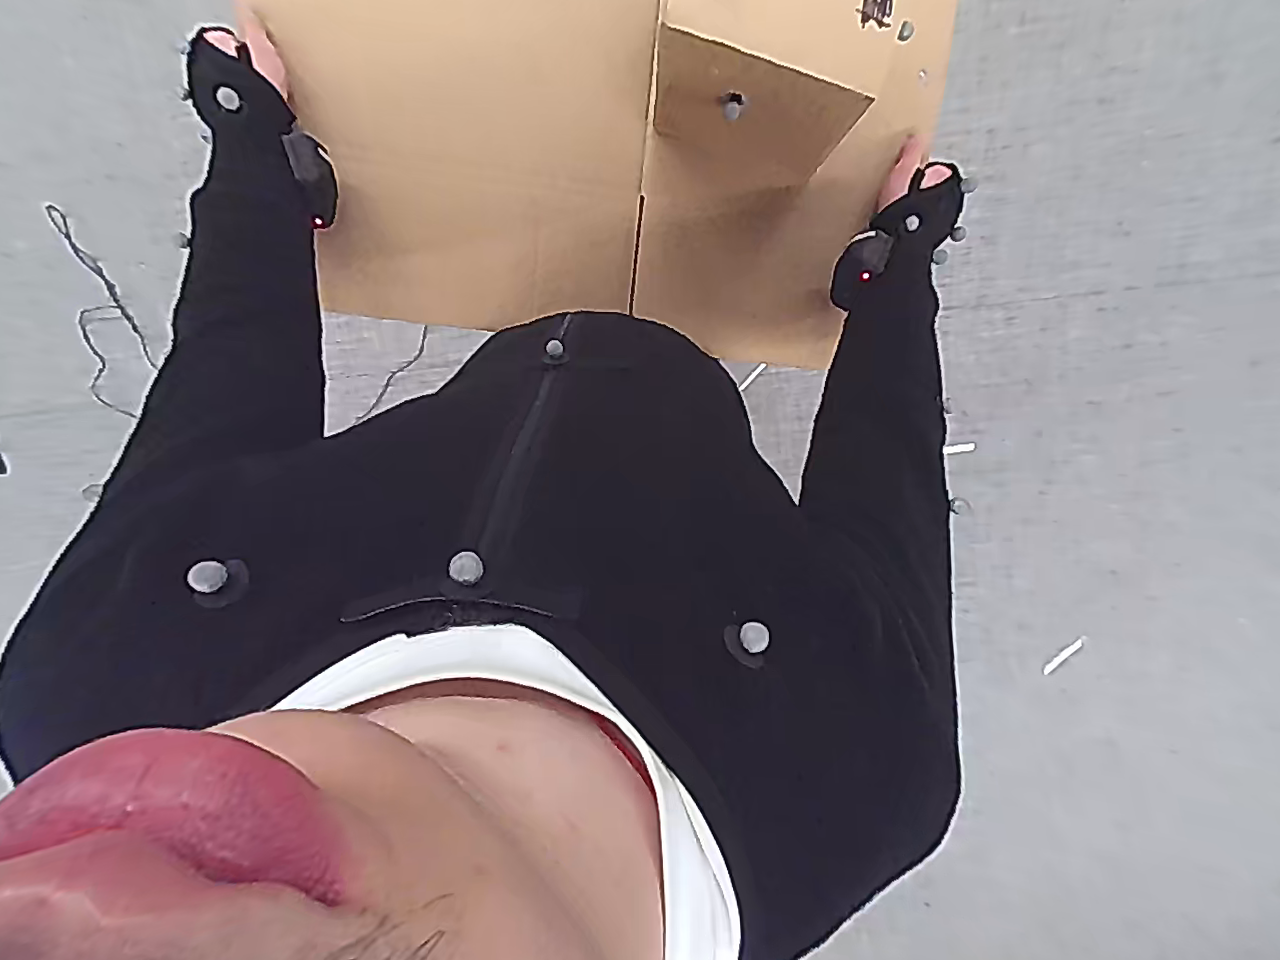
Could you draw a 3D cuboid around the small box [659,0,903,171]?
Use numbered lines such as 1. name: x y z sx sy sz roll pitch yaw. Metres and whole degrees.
1. small box: 0.120 -0.409 0.482 0.179 0.176 0.168 17 100 -2
